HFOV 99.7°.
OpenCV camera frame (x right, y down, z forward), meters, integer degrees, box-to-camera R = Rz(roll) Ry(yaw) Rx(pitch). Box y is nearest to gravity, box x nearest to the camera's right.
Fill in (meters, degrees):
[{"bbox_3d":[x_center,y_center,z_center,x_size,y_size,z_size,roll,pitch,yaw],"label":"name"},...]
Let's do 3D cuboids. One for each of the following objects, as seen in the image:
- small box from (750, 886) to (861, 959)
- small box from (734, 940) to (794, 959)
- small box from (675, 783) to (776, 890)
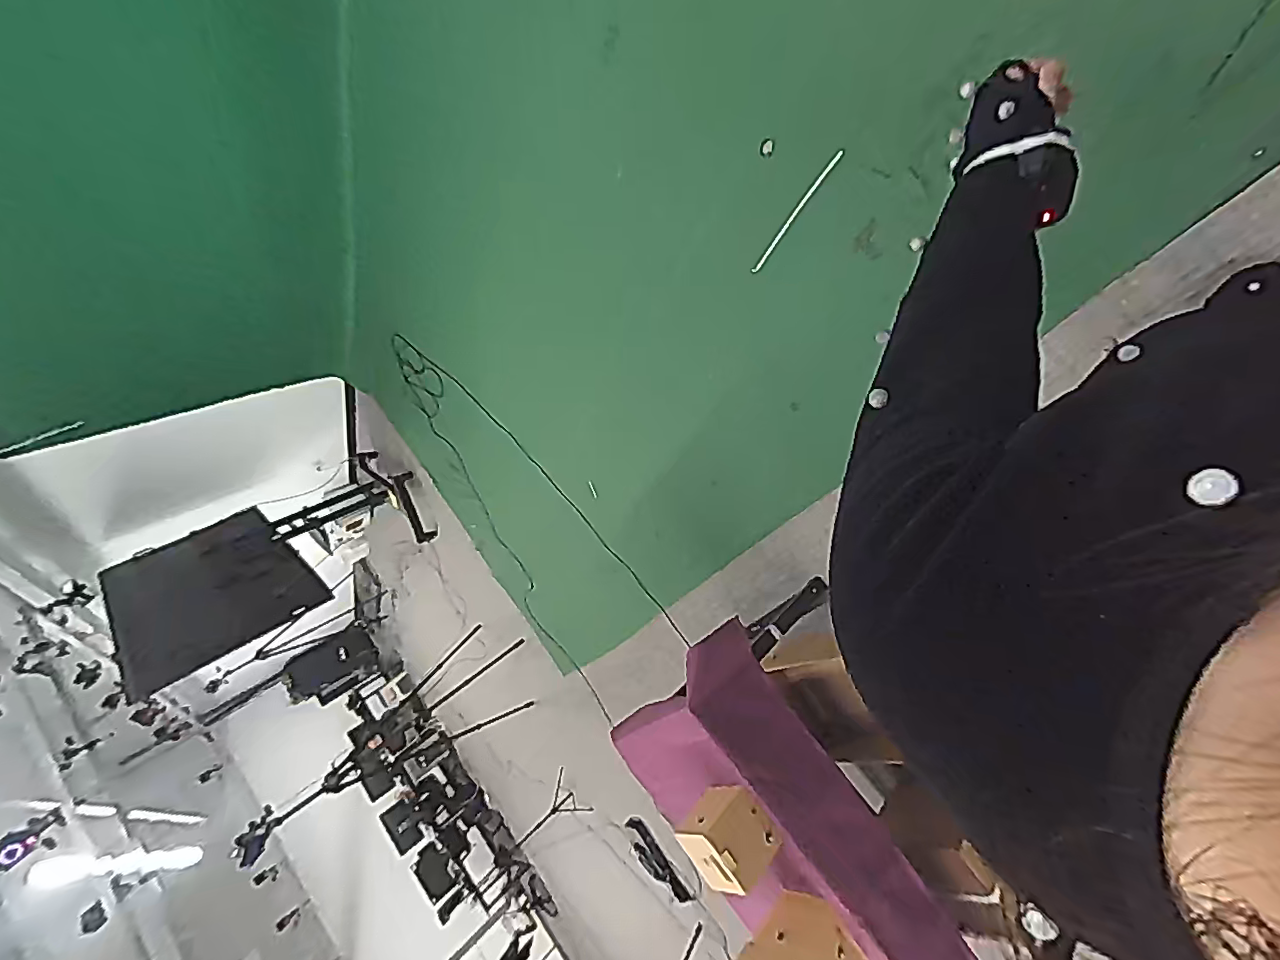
[{"bbox_3d":[0.422,1.182,1.374,0.168,0.176,0.179,55,141,6],"label":"small box"},{"bbox_3d":[0.305,1.249,1.279,0.168,0.176,0.179,56,142,5],"label":"small box"},{"bbox_3d":[0.231,0.929,1.423,0.168,0.176,0.179,52,143,10],"label":"small box"}]
